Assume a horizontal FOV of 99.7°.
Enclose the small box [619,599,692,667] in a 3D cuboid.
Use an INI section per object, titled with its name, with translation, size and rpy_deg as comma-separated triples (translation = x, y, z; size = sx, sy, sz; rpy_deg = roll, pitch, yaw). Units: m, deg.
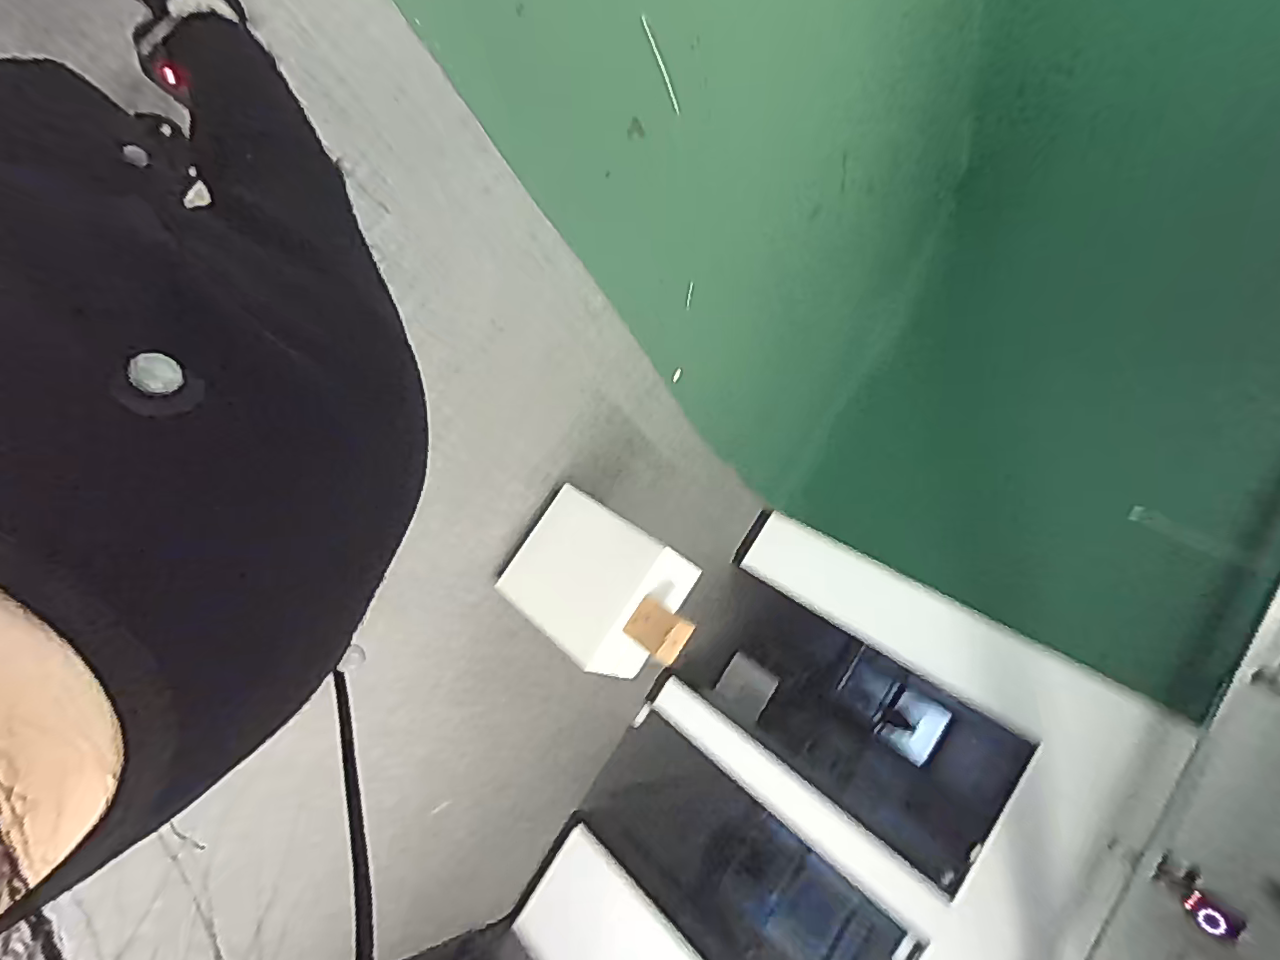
[small box]
translation = 0.056, 0.558, 1.975
size = 0.168, 0.176, 0.179
rpy_deg = -56, 147, -8
